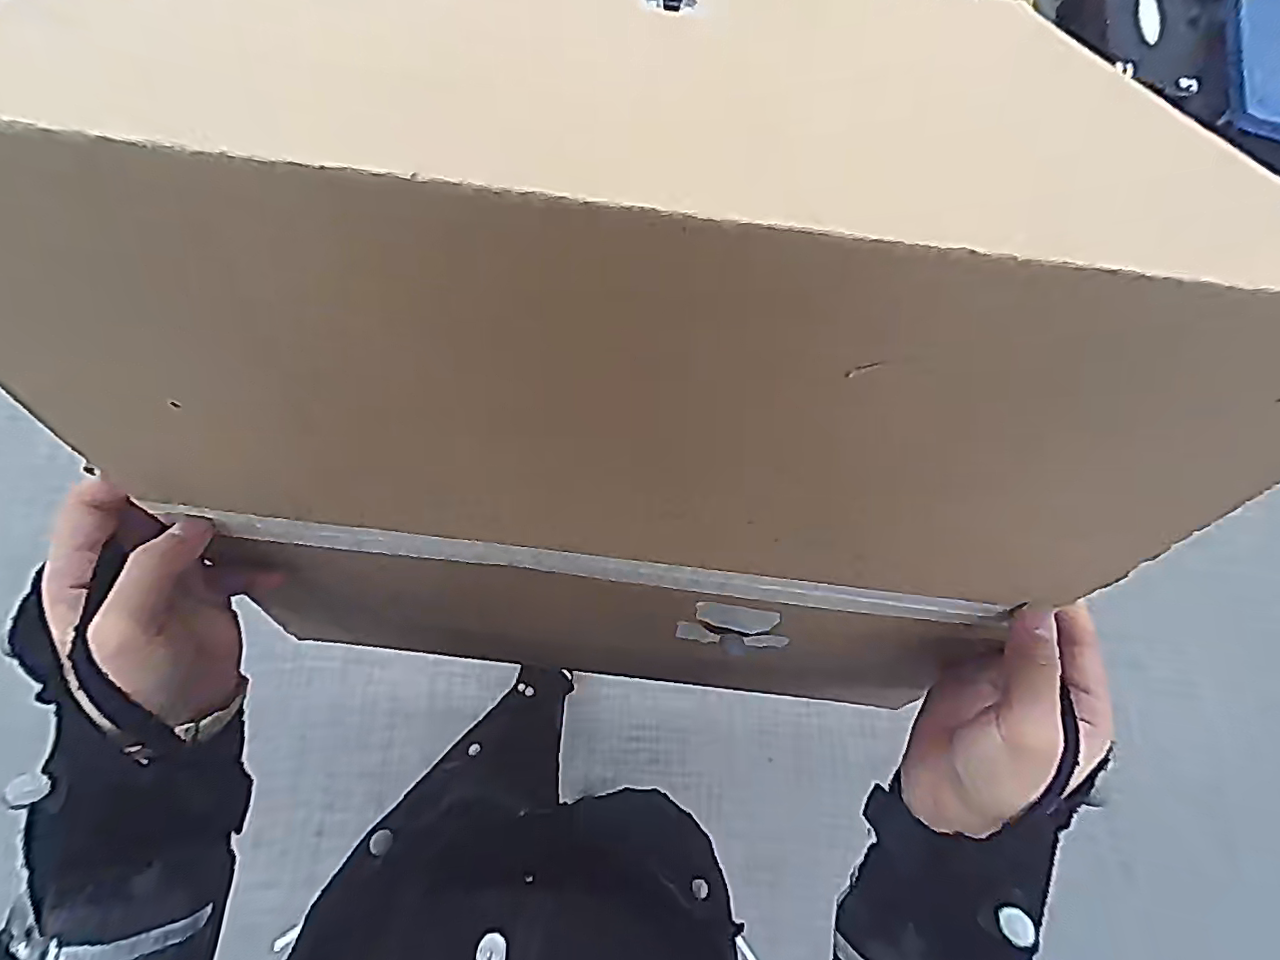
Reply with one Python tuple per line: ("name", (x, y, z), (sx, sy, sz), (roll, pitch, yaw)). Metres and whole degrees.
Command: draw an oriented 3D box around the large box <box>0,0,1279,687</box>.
("large box", (-0.007, -0.088, 0.344), (0.408, 0.320, 0.320), (6, 53, -1))
